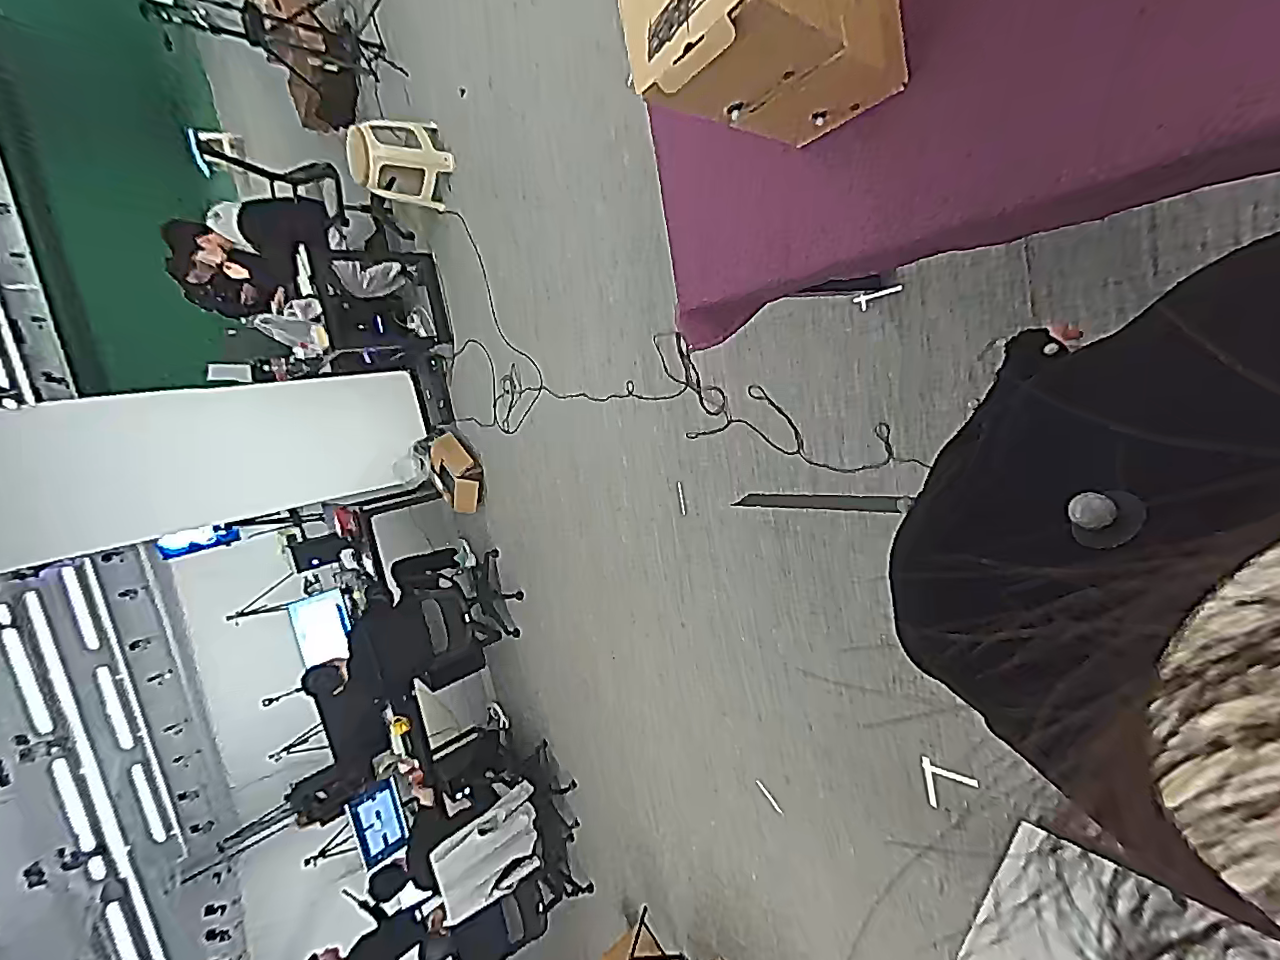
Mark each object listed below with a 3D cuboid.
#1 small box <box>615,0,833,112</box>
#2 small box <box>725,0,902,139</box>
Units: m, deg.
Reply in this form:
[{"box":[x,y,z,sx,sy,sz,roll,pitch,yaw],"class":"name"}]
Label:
[{"box":[0.089,-0.536,0.588,0.168,0.176,0.179,-4,100,50],"class":"small box"},{"box":[0.211,-0.574,0.691,0.168,0.176,0.179,-2,103,50],"class":"small box"}]
